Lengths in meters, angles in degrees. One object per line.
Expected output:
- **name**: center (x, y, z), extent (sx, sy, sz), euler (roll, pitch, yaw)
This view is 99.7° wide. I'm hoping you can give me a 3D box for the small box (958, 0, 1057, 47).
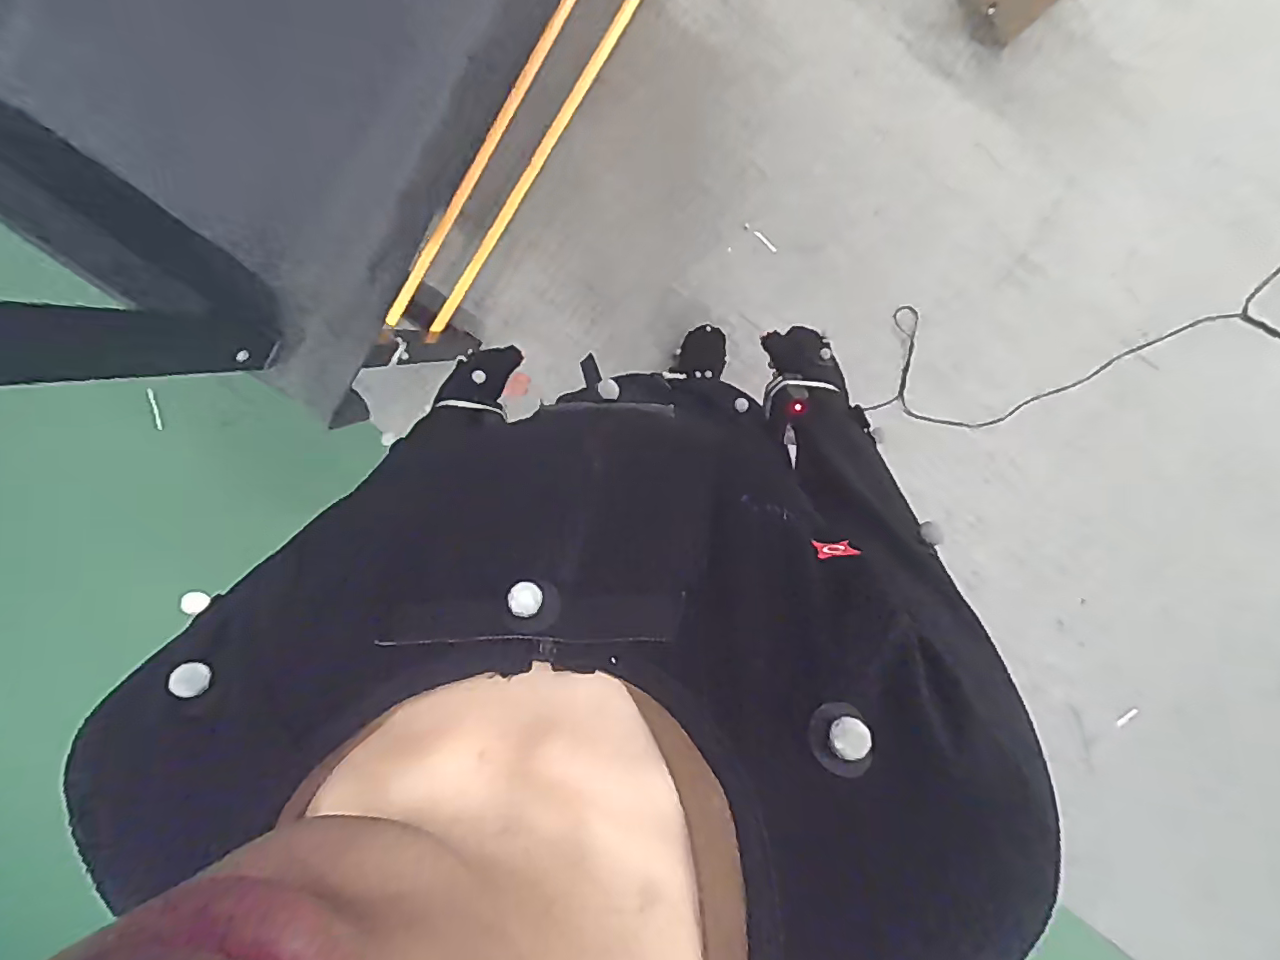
- **small box**: center (0.801, -1.055, 1.101), extent (0.168, 0.176, 0.179), euler (41, 103, -6)
